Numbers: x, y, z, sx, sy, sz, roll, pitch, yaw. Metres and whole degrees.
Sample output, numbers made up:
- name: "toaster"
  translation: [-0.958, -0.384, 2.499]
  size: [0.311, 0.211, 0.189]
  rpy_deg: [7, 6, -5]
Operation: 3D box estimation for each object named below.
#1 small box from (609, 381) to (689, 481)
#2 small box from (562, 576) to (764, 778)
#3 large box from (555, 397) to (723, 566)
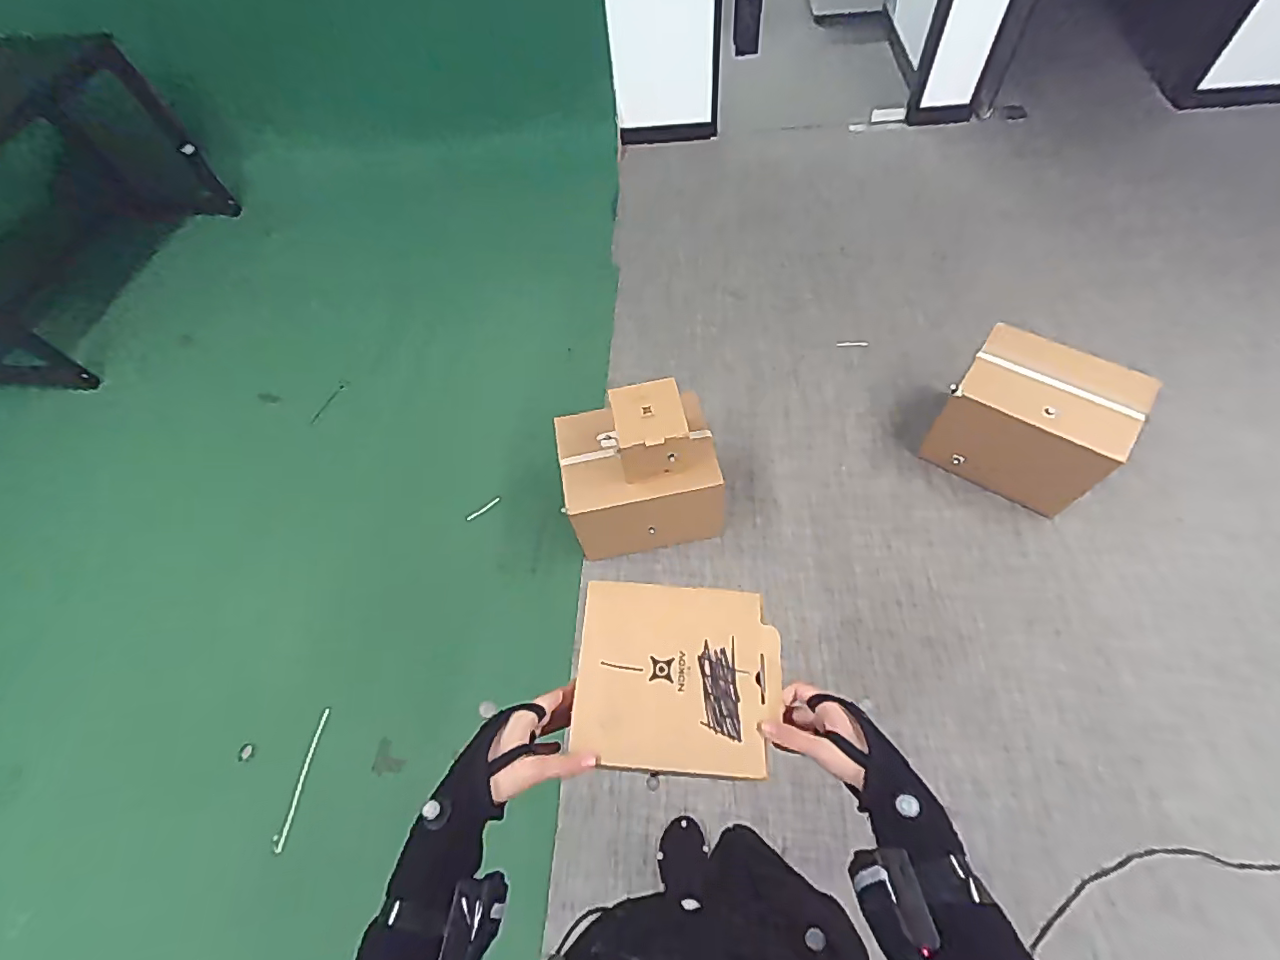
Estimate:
- name: "small box"
  translation: [0.025, -0.111, 1.329]
  size: [0.168, 0.176, 0.179]
  rpy_deg: [-11, 59, -1]
- name: "small box"
  translation: [0.024, 0.213, 0.569]
  size: [0.179, 0.176, 0.168]
  rpy_deg: [4, 60, 2]
- name: "large box"
  translation: [0.002, 0.014, 1.544]
  size: [0.408, 0.320, 0.320]
  rpy_deg: [-12, 57, 0]
